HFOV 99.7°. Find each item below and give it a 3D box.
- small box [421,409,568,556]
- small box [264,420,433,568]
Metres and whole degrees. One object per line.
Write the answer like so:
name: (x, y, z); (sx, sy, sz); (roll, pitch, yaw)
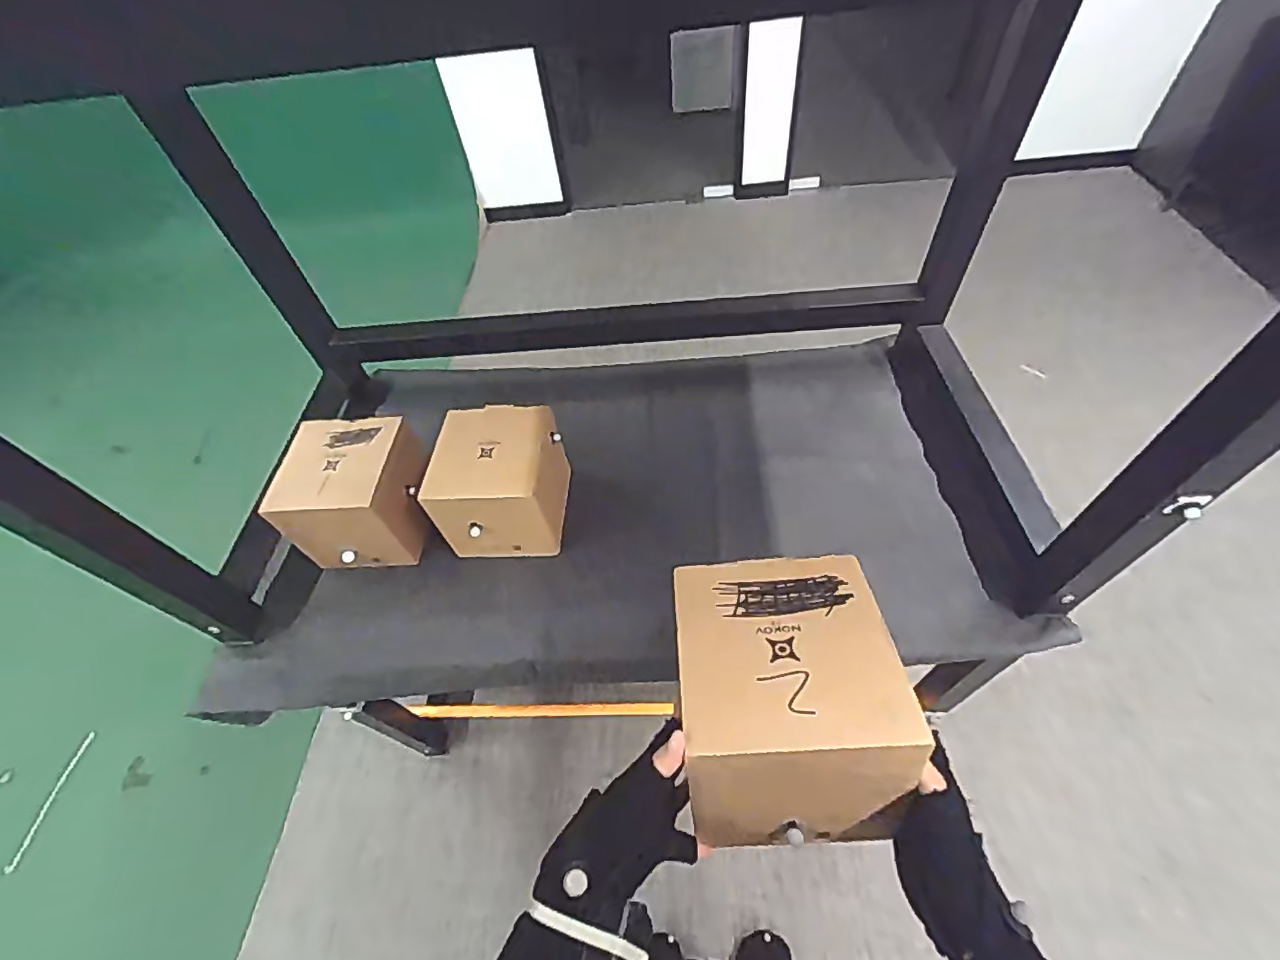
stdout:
small box: (-0.216, 0.010, 0.859); (0.168, 0.176, 0.179); (-2, 52, 5)
small box: (-0.443, 0.025, 0.869); (0.168, 0.176, 0.179); (-2, 52, 4)
